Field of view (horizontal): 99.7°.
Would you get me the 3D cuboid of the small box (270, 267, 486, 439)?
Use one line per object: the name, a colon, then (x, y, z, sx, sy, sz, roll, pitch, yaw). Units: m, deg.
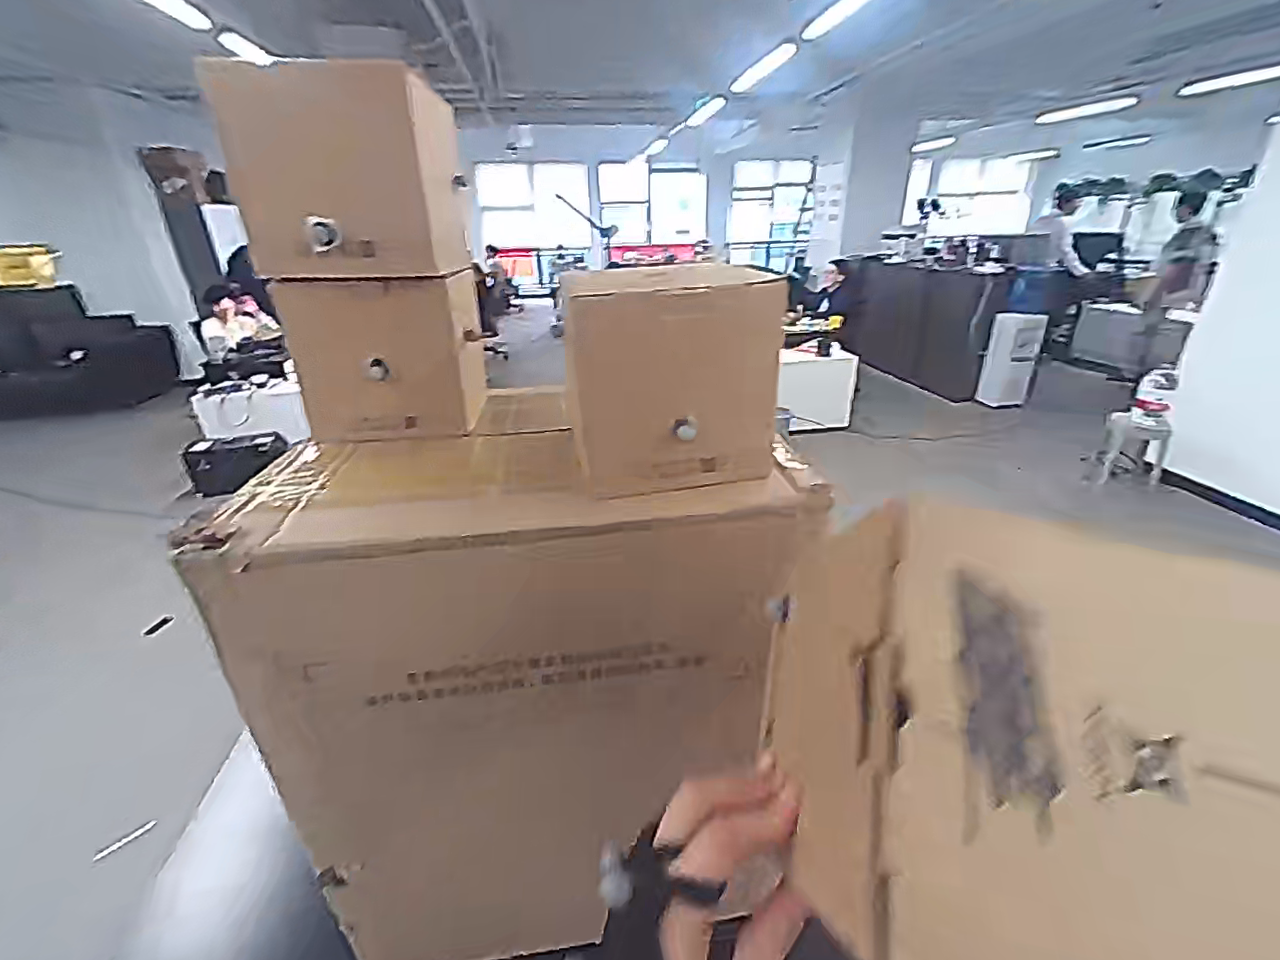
small box: (-0.278, -0.150, 0.624, 0.168, 0.176, 0.179, -4, 26, -8)

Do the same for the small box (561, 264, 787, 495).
small box: (0.019, -0.102, 0.505, 0.168, 0.176, 0.179, -8, 27, -9)

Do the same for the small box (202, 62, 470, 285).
small box: (-0.275, -0.292, 0.542, 0.168, 0.176, 0.179, -4, 26, -5)

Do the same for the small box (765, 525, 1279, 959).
small box: (0.172, 0.138, 0.275, 0.179, 0.176, 0.168, 11, 68, 2)
